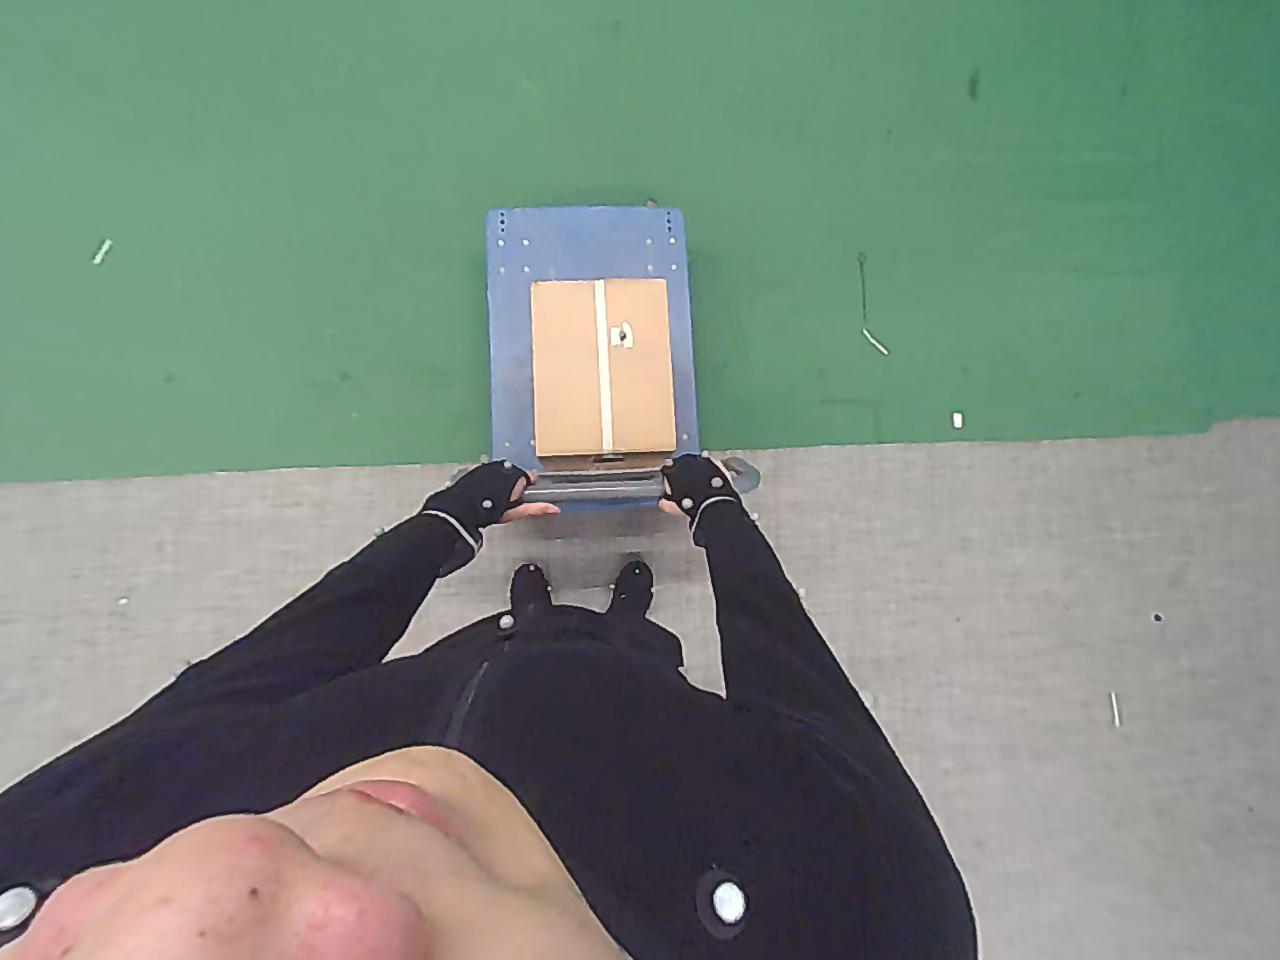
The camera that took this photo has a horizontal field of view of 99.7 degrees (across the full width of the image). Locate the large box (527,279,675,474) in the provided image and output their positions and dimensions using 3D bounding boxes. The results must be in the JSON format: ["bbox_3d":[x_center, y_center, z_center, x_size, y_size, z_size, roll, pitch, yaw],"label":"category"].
[{"bbox_3d":[-0.100,-0.241,1.360,0.320,0.320,0.408,-3,83,-6],"label":"large box"}]
